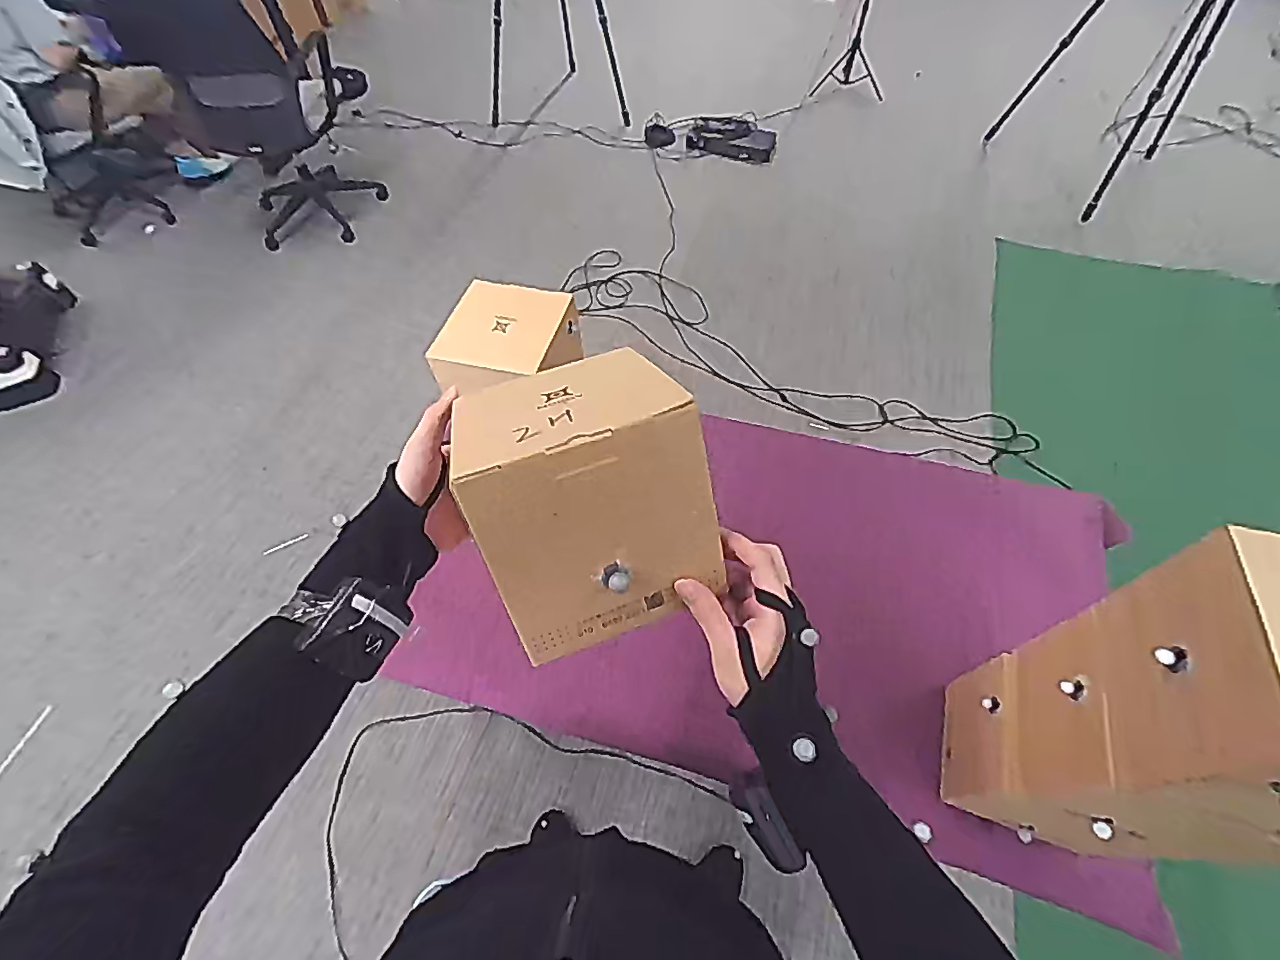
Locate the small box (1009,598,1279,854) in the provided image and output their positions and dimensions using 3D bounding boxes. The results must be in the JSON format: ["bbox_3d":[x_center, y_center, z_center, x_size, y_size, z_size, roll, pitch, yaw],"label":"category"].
[{"bbox_3d":[0.511,0.254,0.559,0.168,0.176,0.179,16,59,13],"label":"small box"}]

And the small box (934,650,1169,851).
[{"bbox_3d":[0.511,0.346,0.694,0.179,0.176,0.168,17,58,12],"label":"small box"}]

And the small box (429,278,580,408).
[{"bbox_3d":[-0.196,-0.185,0.854,0.168,0.176,0.179,11,58,8],"label":"small box"}]

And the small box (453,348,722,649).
[{"bbox_3d":[-0.045,0.006,0.458,0.168,0.176,0.179,-19,29,-8],"label":"small box"}]
